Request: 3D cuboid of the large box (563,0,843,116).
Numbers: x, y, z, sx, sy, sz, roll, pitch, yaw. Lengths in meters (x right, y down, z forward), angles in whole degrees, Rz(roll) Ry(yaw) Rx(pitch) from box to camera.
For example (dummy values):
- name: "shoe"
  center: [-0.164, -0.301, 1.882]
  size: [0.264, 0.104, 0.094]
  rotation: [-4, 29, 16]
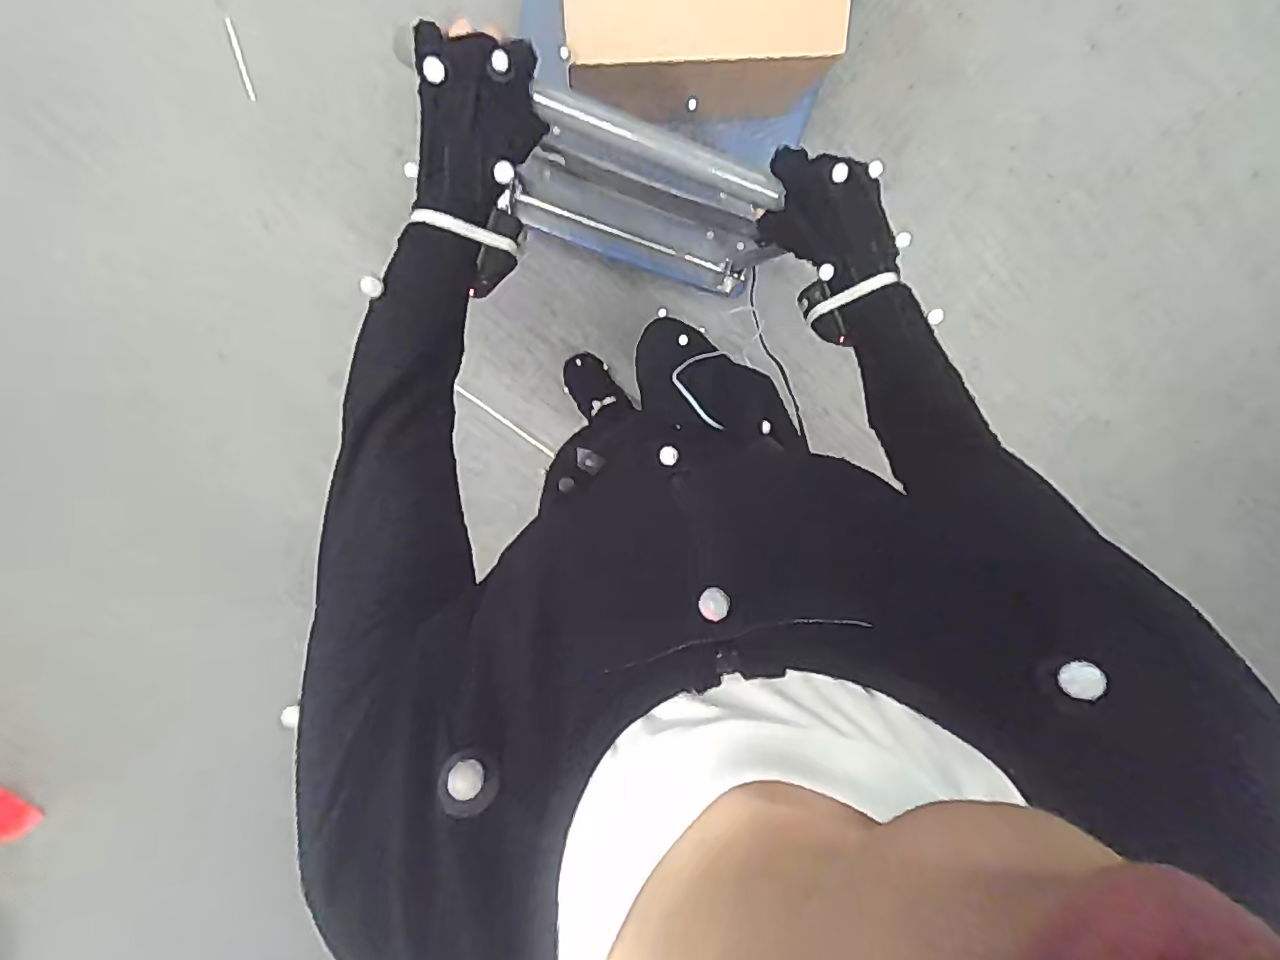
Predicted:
- name: "large box"
  center: [0.081, -0.812, 0.869]
  size: [0.408, 0.320, 0.320]
  rotation: [-3, 110, -1]
